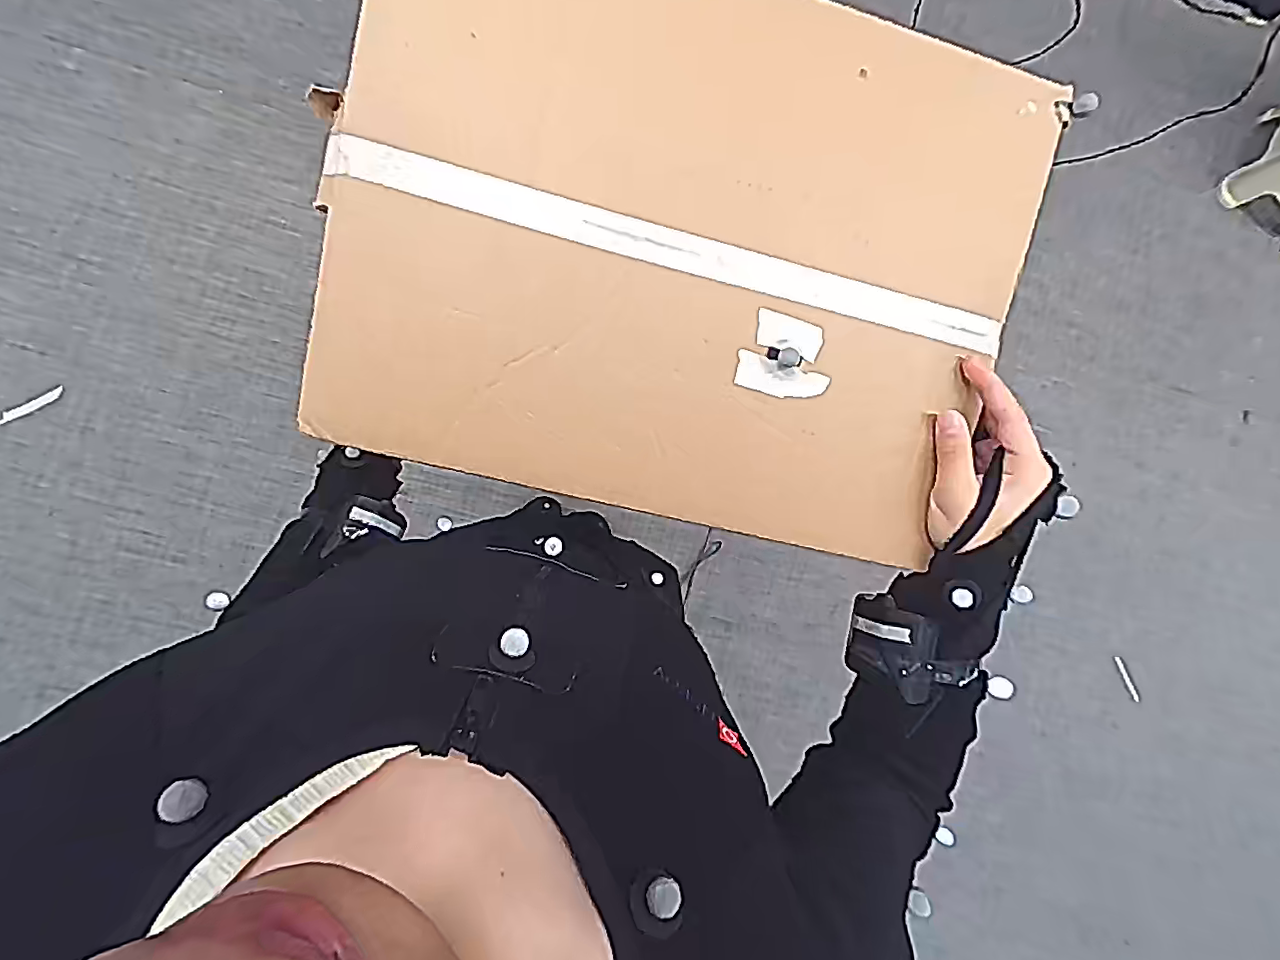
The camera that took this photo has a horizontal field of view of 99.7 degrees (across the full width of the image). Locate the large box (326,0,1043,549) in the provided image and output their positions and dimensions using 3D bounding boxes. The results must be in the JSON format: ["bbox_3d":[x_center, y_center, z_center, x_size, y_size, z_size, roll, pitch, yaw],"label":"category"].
[{"bbox_3d":[0.016,-0.156,0.478,0.408,0.320,0.320,12,97,-9],"label":"large box"}]
